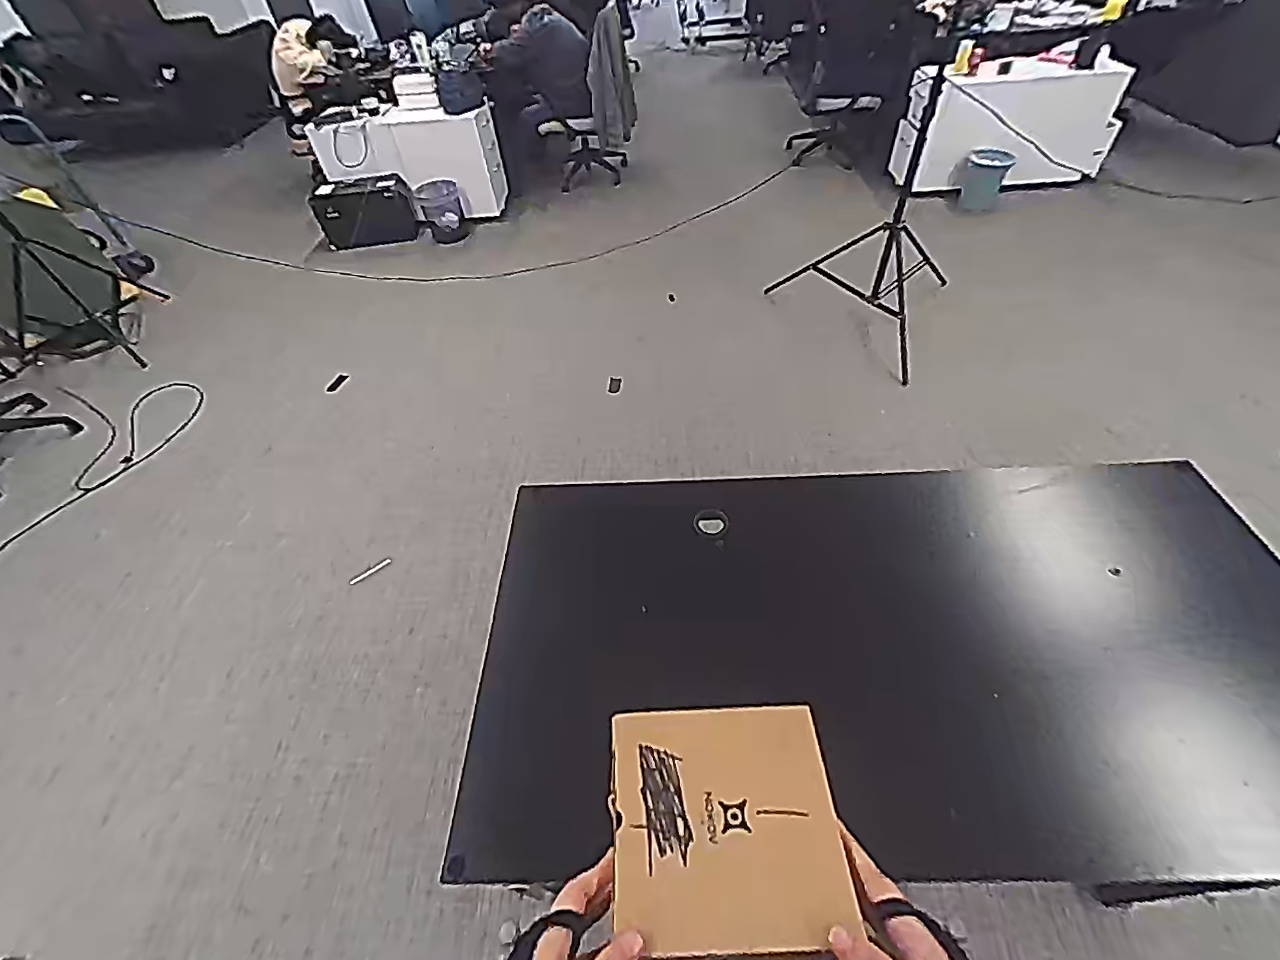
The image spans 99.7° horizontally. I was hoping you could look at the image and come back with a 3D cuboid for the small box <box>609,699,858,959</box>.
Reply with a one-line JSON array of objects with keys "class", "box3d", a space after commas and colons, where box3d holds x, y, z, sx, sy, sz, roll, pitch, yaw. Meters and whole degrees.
[{"class": "small box", "box3d": [0.068, 0.316, 0.484, 0.179, 0.176, 0.168, -3, 44, 0]}]
